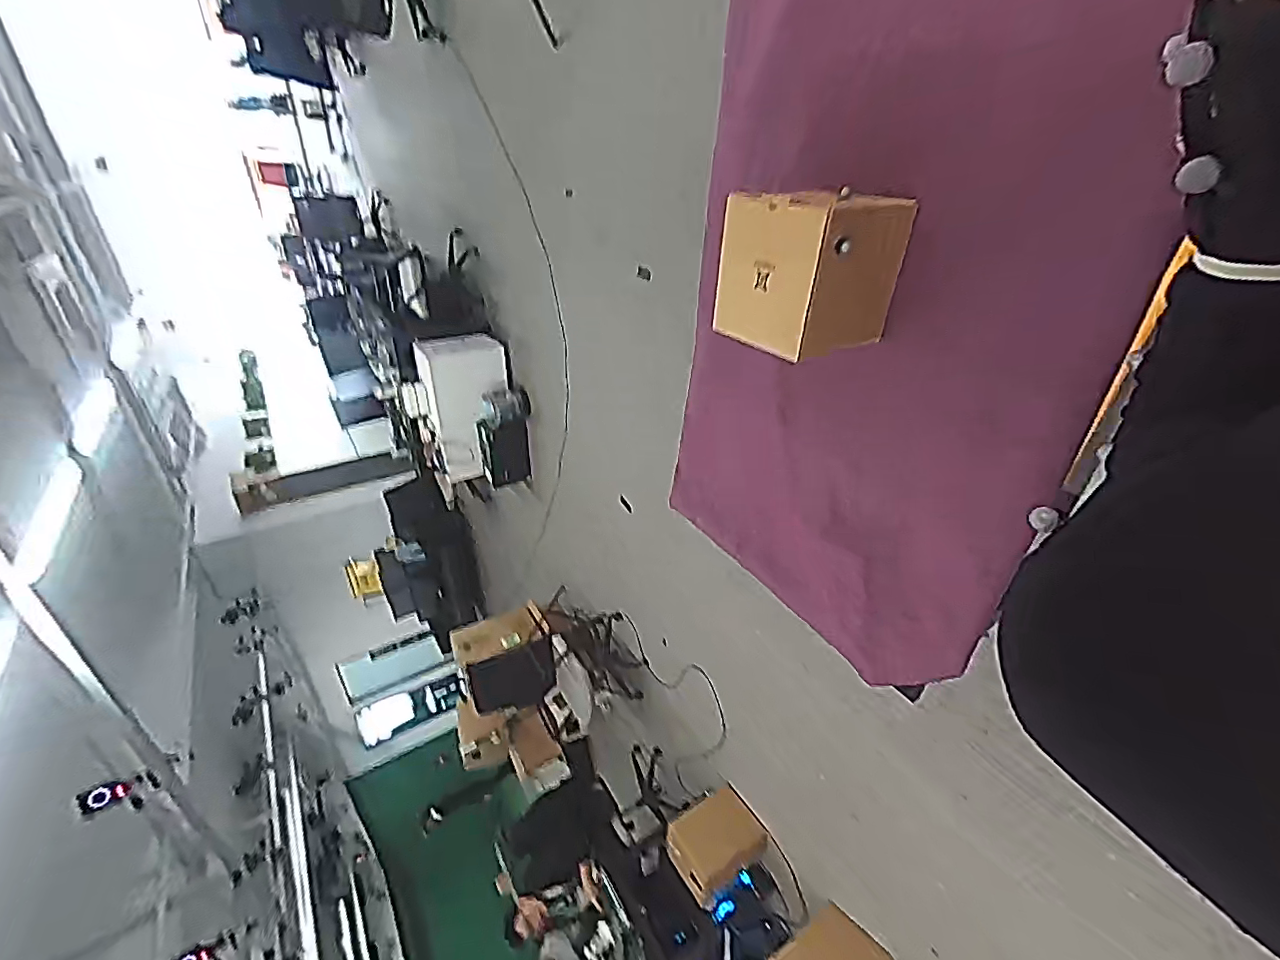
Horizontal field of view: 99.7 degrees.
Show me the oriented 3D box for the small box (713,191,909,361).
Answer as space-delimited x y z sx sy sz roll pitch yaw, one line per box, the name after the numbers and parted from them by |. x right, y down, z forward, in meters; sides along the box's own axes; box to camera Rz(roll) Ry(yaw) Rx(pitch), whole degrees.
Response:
0.220 -0.277 0.715 0.168 0.176 0.179 40 137 44 | small box
